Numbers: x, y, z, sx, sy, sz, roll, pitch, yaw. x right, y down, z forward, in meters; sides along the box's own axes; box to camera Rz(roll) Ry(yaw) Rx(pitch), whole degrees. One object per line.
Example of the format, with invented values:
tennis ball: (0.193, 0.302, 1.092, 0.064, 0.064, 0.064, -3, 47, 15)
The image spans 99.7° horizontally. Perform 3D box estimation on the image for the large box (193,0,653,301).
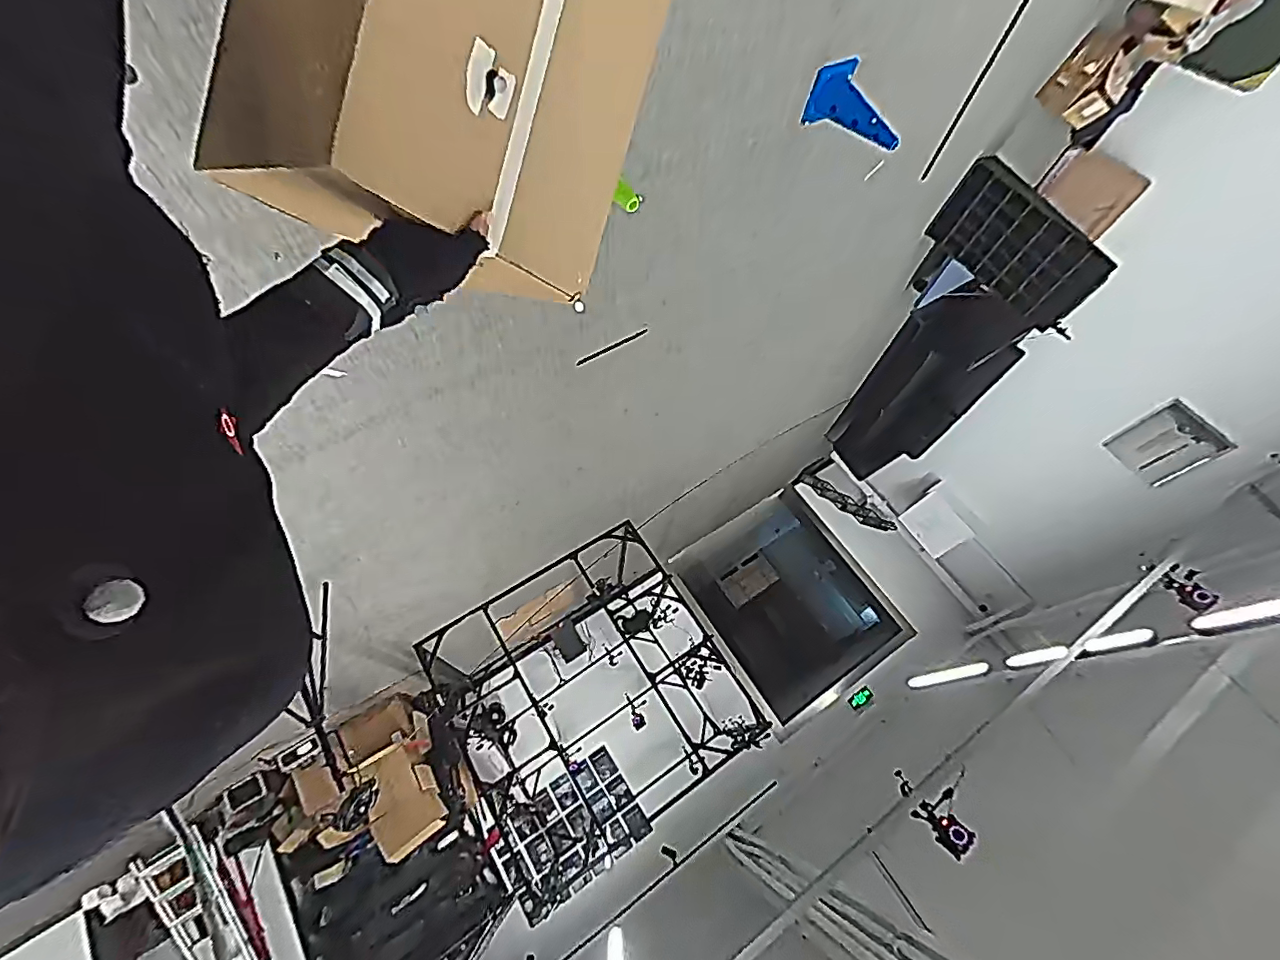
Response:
large box: (-0.231, -0.469, 0.608, 0.320, 0.320, 0.408, 7, 103, -57)

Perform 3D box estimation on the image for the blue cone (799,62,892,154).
blue cone: (0.785, -1.332, 1.982, 0.193, 0.380, 0.192, -28, 160, -21)
